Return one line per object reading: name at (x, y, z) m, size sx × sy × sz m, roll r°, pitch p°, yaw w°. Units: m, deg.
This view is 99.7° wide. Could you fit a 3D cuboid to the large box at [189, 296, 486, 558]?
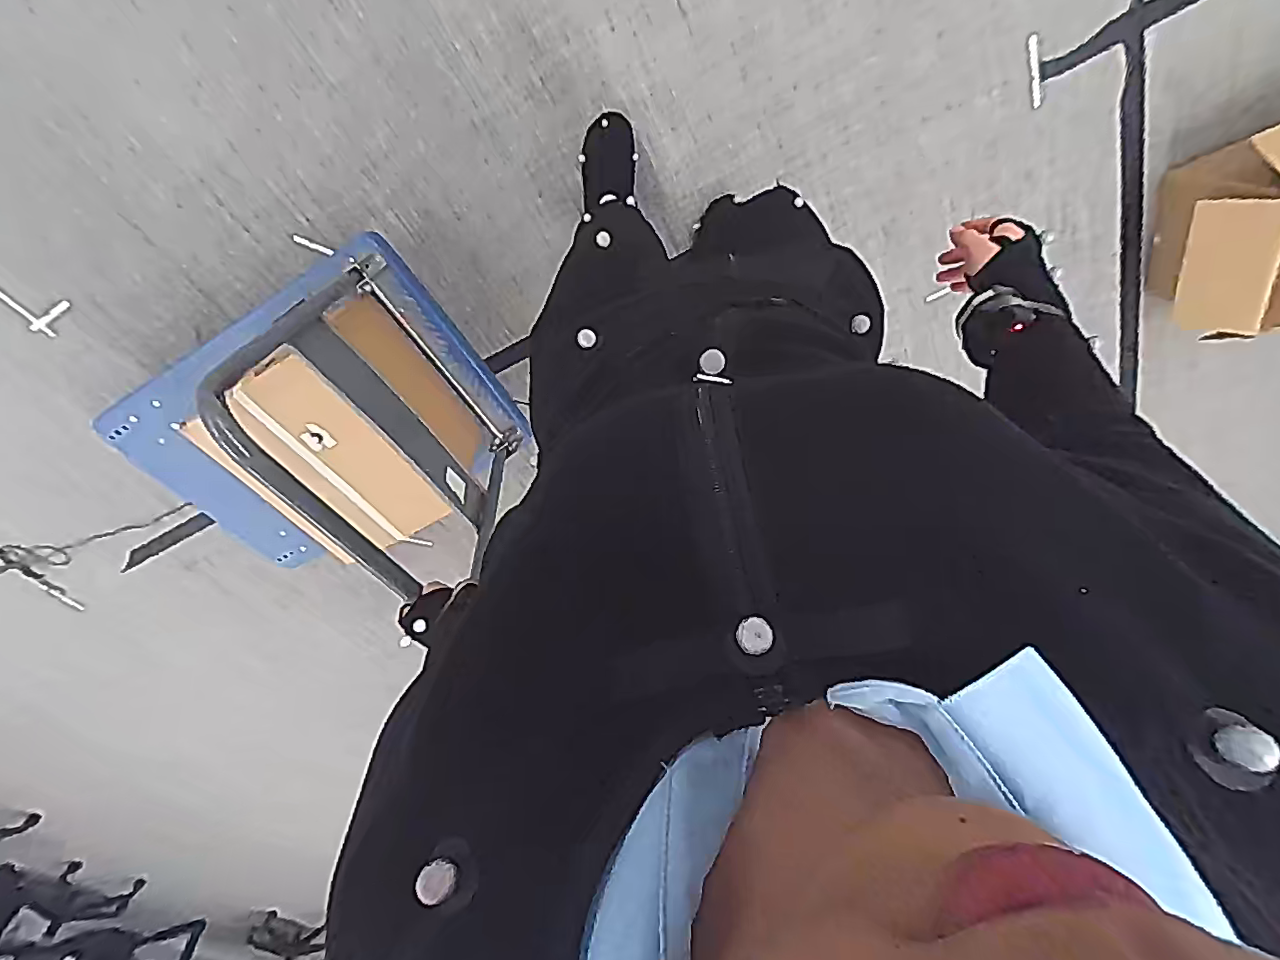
large box at (-0.601, -0.111, 1.169) m, size 0.320 × 0.320 × 0.408 m, roll -26°, pitch 123°, yaw 13°
